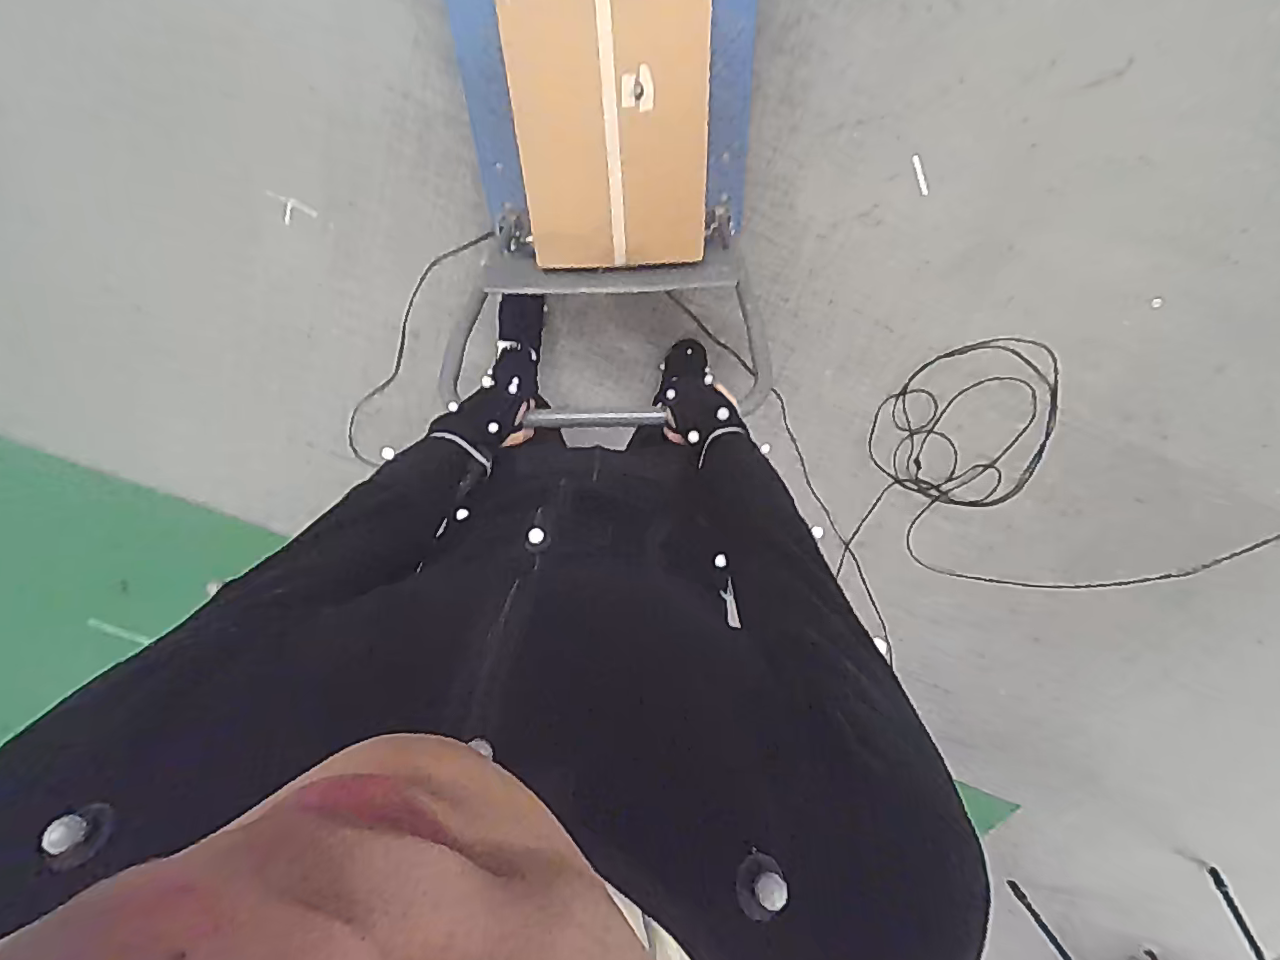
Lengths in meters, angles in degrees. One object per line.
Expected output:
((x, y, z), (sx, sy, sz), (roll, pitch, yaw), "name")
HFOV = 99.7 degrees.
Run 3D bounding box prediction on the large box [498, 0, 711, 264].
((-0.038, -0.658, 0.999), (0.320, 0.320, 0.408), (-2, 130, 2), "large box")
